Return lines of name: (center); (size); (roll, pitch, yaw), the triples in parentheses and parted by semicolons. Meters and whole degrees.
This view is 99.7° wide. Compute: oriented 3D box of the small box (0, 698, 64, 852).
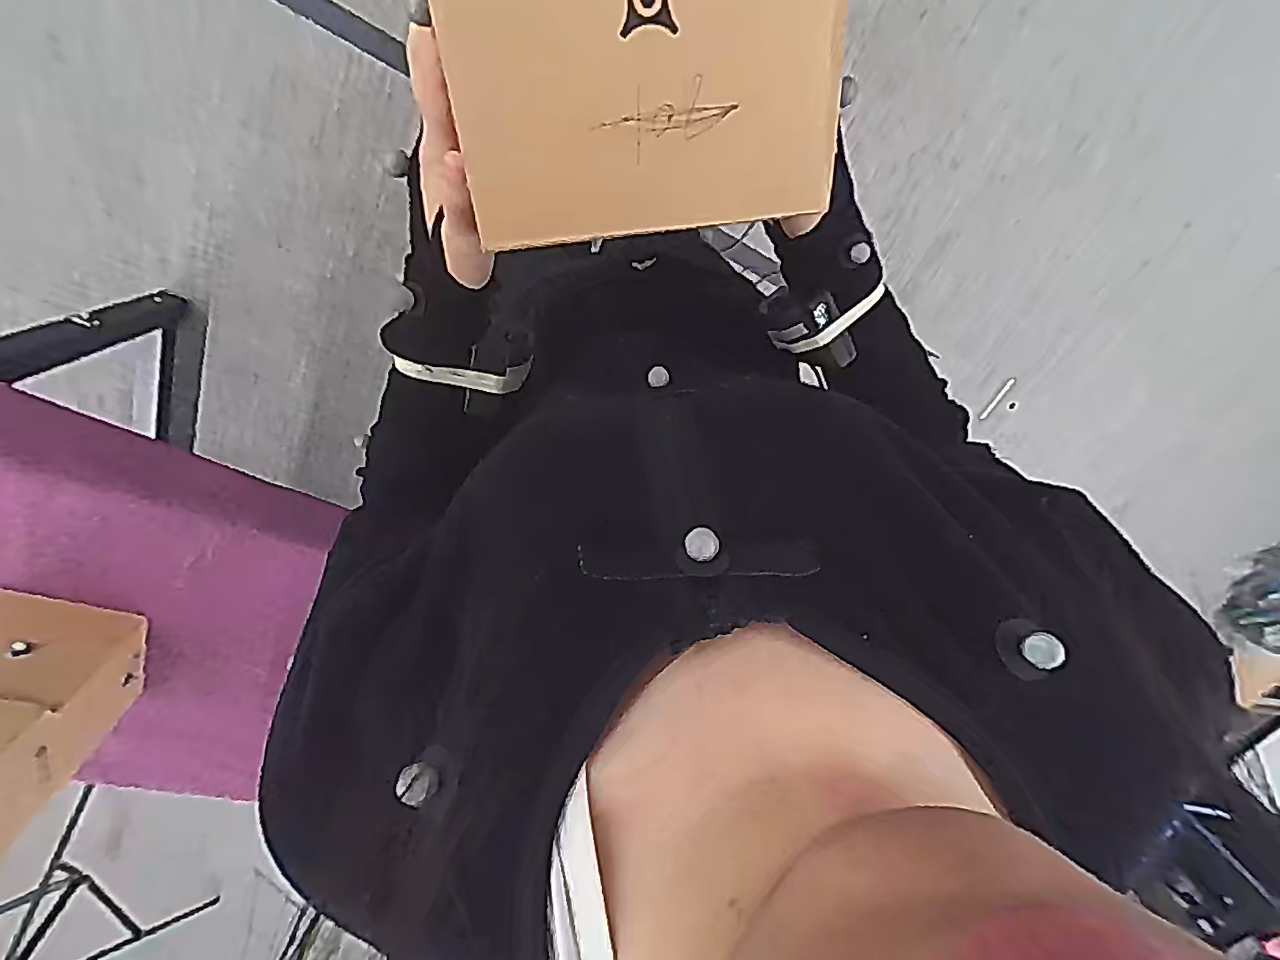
small box: (-0.781, 0.341, 0.568); (0.179, 0.176, 0.168); (16, 116, -16)

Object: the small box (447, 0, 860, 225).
small box: (-0.005, -0.239, 0.270); (0.168, 0.176, 0.179); (-8, 123, -4)
